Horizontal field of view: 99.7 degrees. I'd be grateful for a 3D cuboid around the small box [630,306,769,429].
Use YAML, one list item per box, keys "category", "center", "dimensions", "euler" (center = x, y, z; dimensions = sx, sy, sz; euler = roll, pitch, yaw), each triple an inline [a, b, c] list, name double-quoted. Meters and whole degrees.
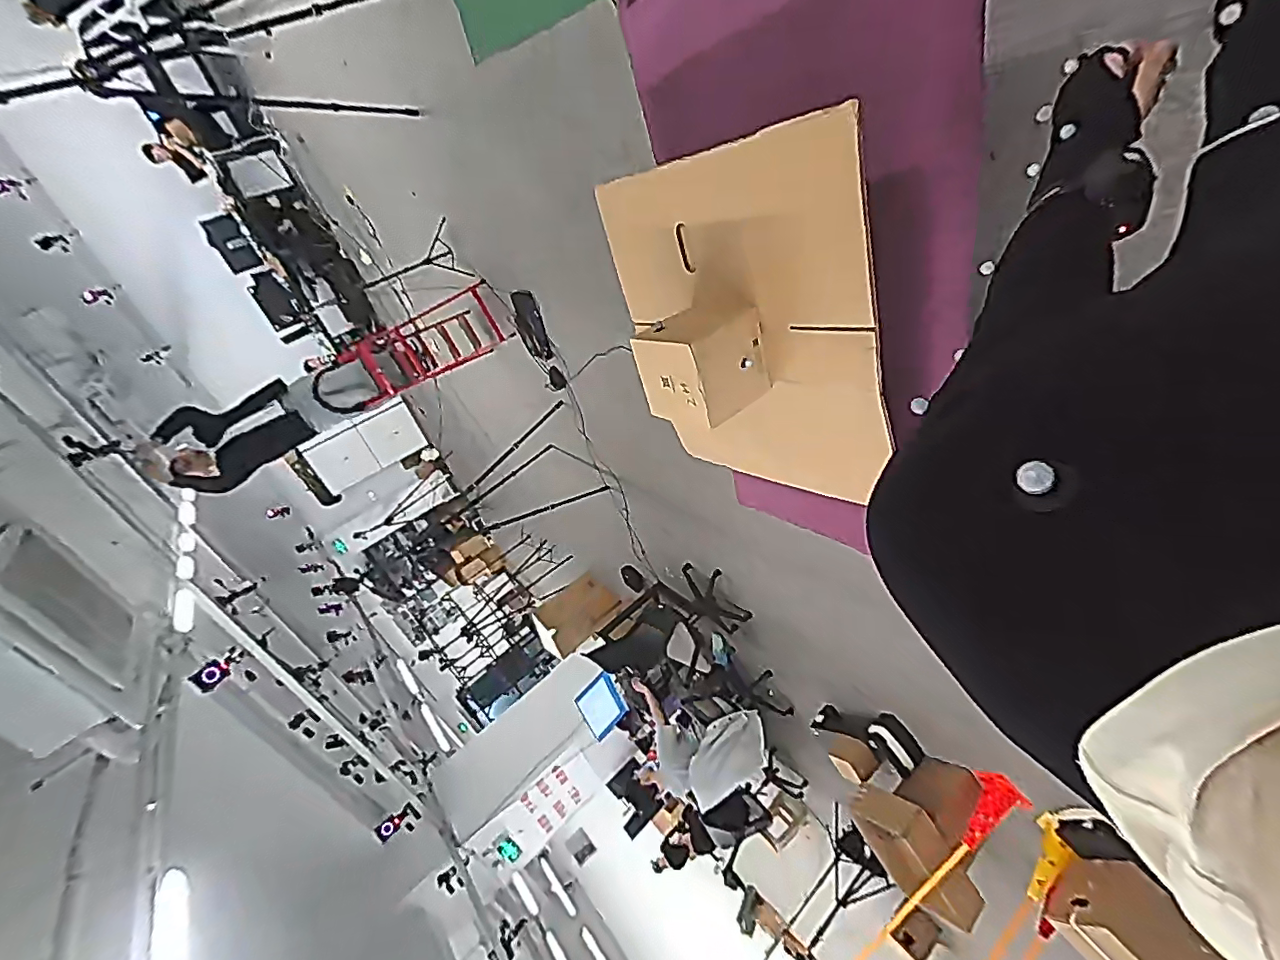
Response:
- category: "small box"
  center: [0.114, -0.219, 1.018]
  dimensions: [0.179, 0.176, 0.168]
  euler: [23, 139, 49]
